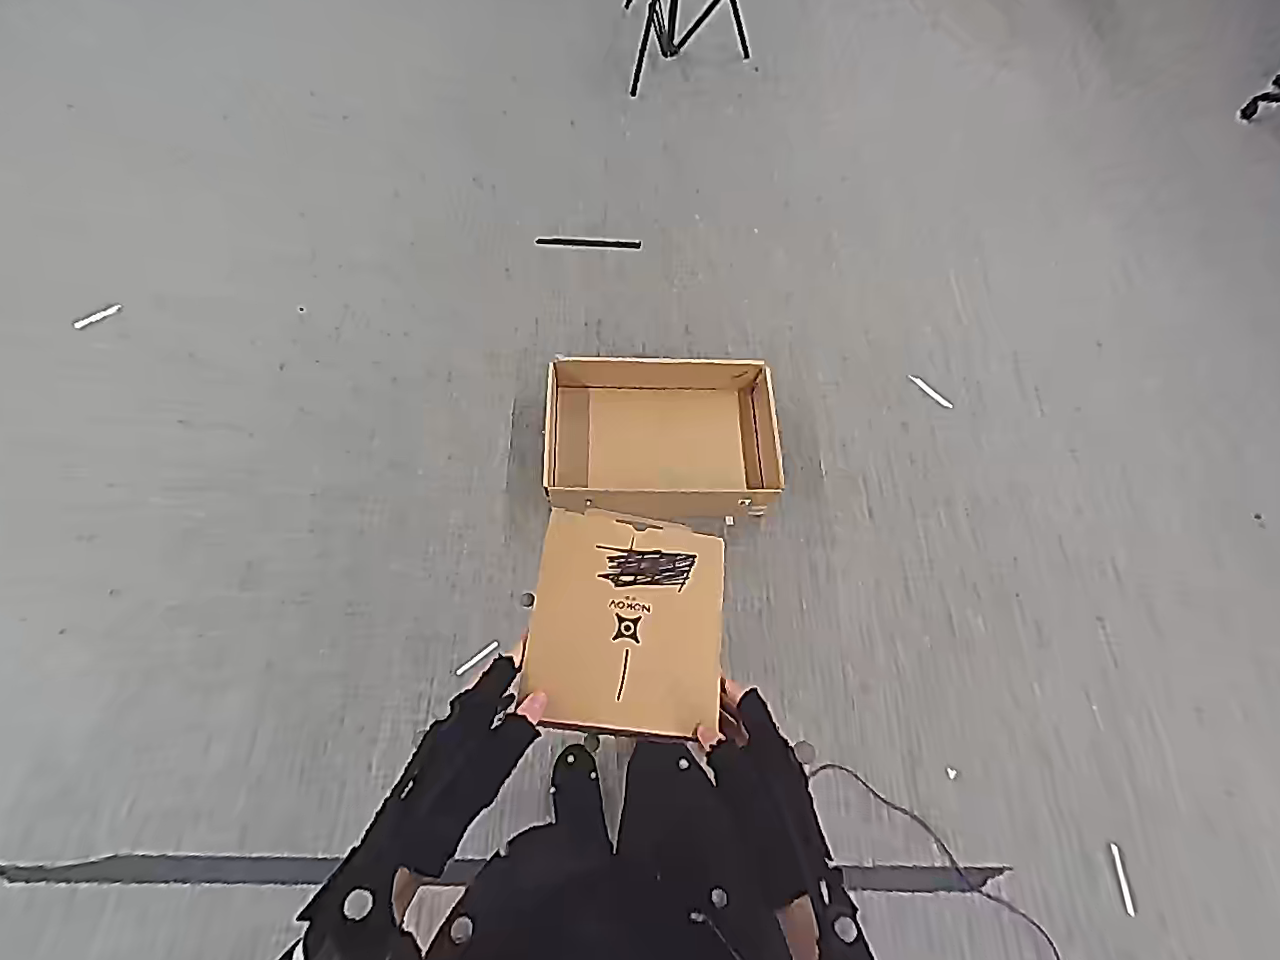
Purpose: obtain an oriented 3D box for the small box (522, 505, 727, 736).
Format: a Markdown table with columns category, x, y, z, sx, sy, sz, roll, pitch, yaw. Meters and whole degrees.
| category | x | y | z | sx | sy | sz | roll | pitch | yaw |
| --- | --- | --- | --- | --- | --- | --- | --- | --- | --- |
| small box | -0.020 | 0.148 | 0.535 | 0.168 | 0.176 | 0.179 | 10 | 63 | -7 |
